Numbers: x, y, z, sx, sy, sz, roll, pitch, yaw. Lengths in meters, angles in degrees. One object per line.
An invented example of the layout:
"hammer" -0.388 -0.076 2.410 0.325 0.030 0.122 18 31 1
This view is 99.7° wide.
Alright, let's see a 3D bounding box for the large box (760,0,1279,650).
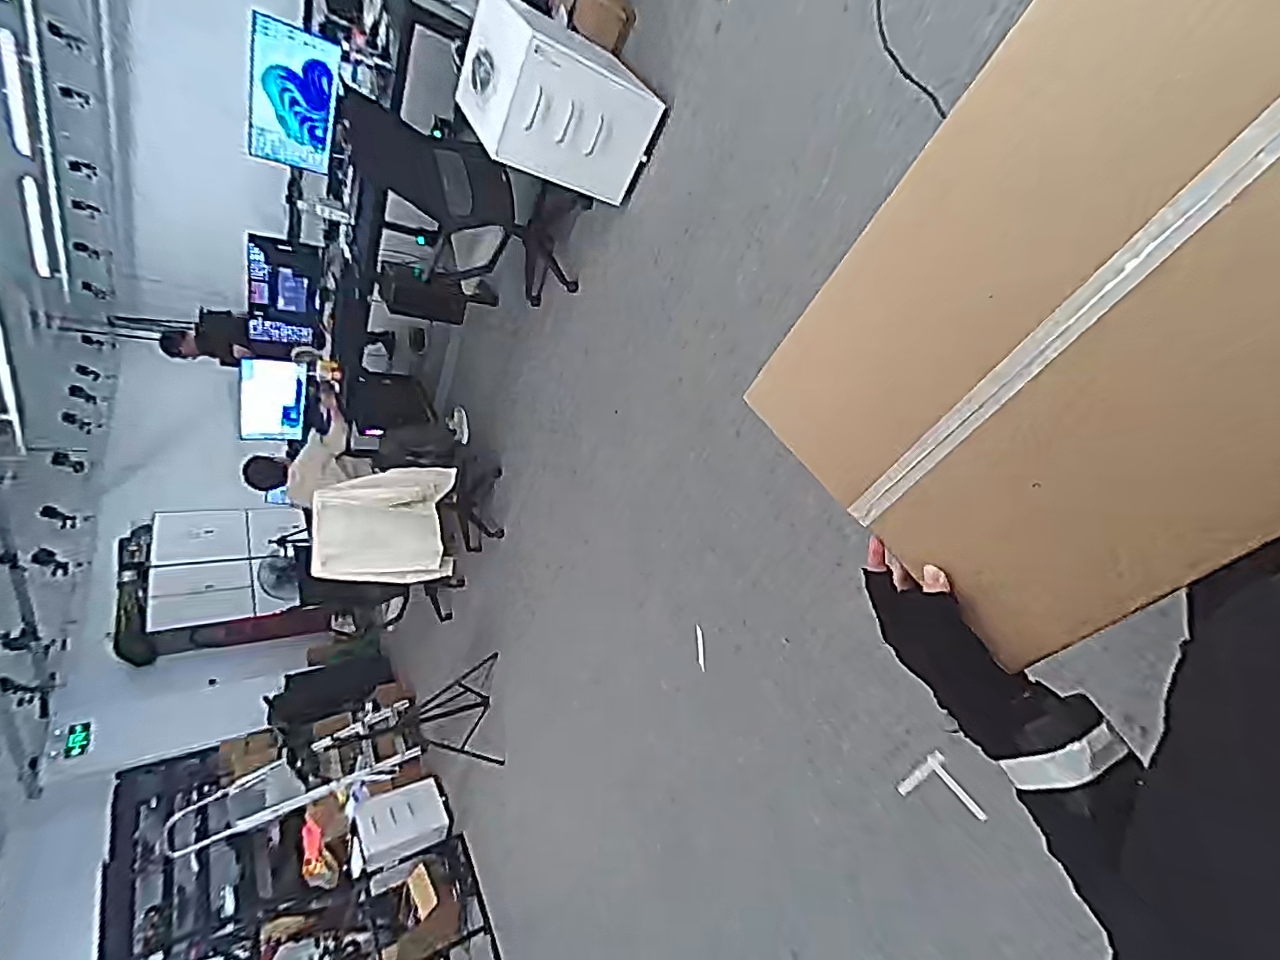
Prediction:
"large box" 0.388 -0.131 0.457 0.320 0.320 0.408 52 132 23
